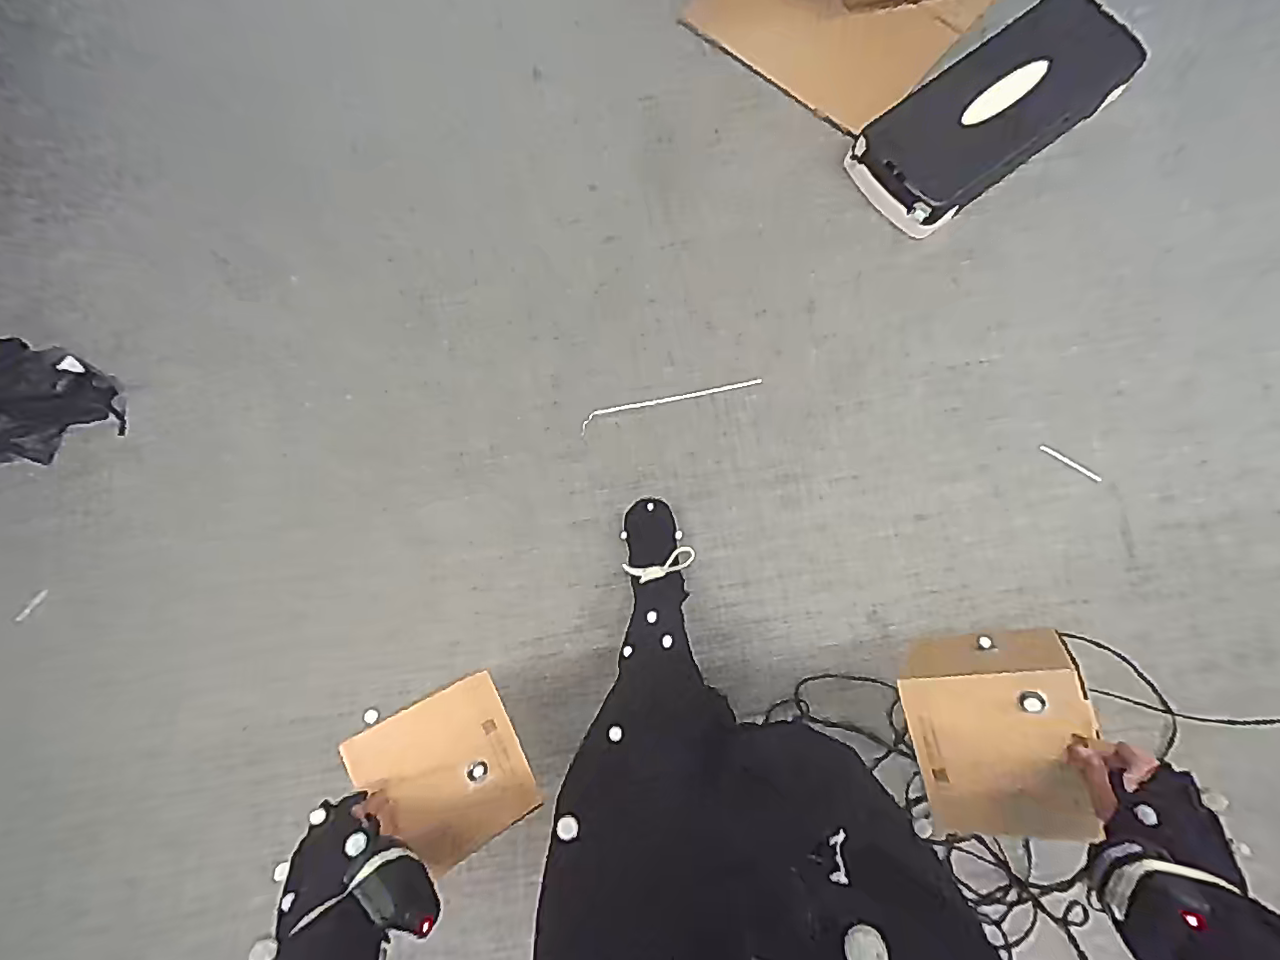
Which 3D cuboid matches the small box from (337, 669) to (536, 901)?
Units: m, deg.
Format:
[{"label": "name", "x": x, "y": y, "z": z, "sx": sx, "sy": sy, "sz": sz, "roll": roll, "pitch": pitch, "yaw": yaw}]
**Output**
[{"label": "small box", "x": -0.245, "y": 0.347, "z": 0.653, "sx": 0.176, "sy": 0.179, "sz": 0.168, "roll": -21, "pitch": 79, "yaw": -33}]
